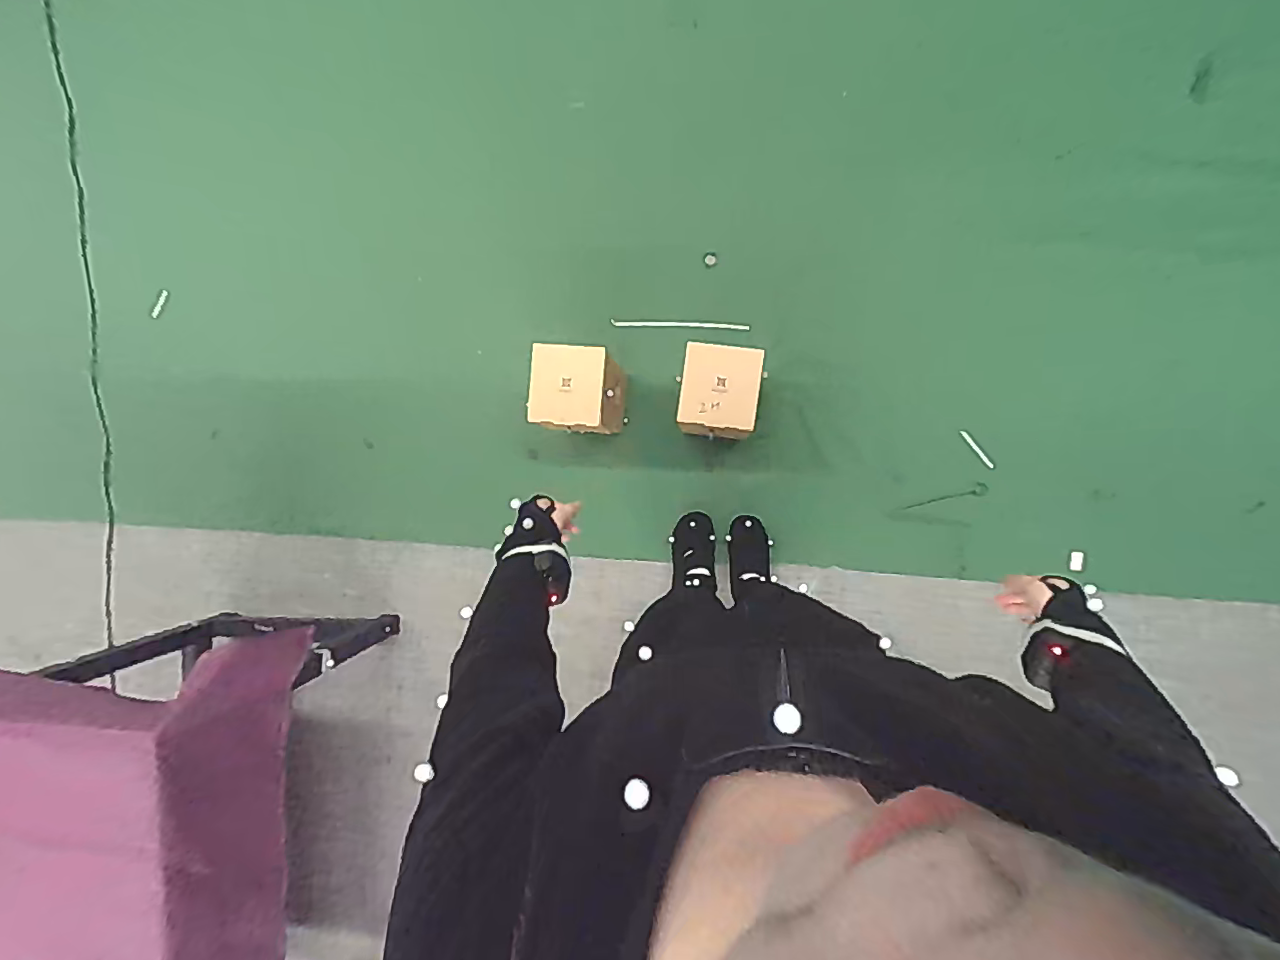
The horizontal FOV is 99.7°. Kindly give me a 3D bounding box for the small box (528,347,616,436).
[{"bbox_3d":[-0.152,-0.201,1.266,0.168,0.176,0.179,5,91,7],"label":"small box"}]

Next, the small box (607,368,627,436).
[{"bbox_3d":[-0.134,-0.207,1.428,0.179,0.176,0.168,5,91,8],"label":"small box"}]

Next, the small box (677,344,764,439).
[{"bbox_3d":[0.178,-0.194,1.226,0.168,0.176,0.179,8,92,7],"label":"small box"}]
